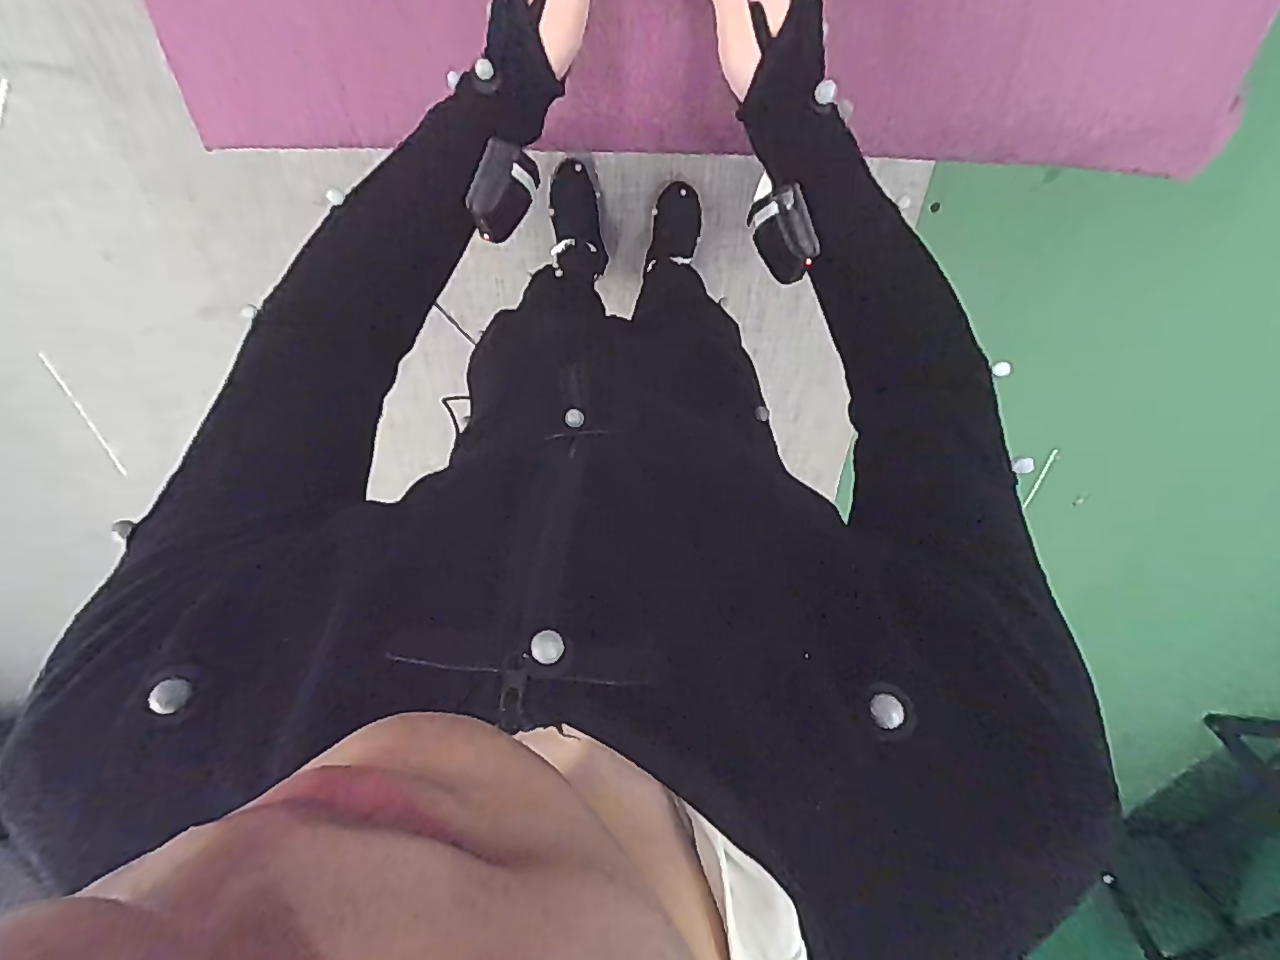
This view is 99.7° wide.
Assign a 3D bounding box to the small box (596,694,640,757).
[{"bbox_3d":[-0.089,1.017,2.240,0.168,0.176,0.179,4,126,1],"label":"small box"}]
